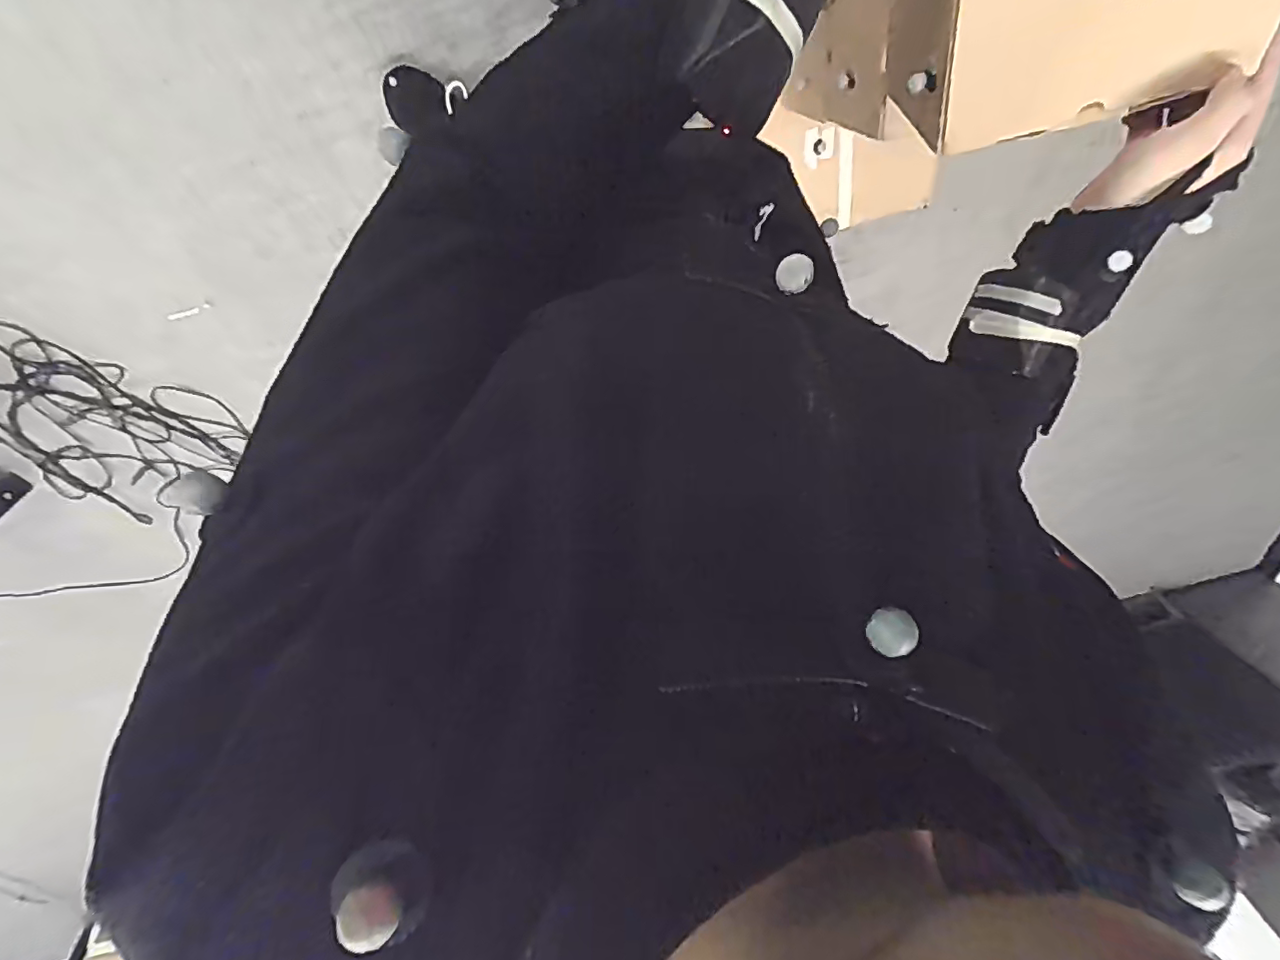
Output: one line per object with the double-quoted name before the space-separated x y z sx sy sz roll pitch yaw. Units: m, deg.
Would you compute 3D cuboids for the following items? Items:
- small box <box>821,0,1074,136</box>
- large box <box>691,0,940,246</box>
"small box" 0.301 -0.474 0.552 0.179 0.176 0.168 -13 133 0
"large box" 0.286 -0.682 0.912 0.320 0.320 0.408 -14 132 3
